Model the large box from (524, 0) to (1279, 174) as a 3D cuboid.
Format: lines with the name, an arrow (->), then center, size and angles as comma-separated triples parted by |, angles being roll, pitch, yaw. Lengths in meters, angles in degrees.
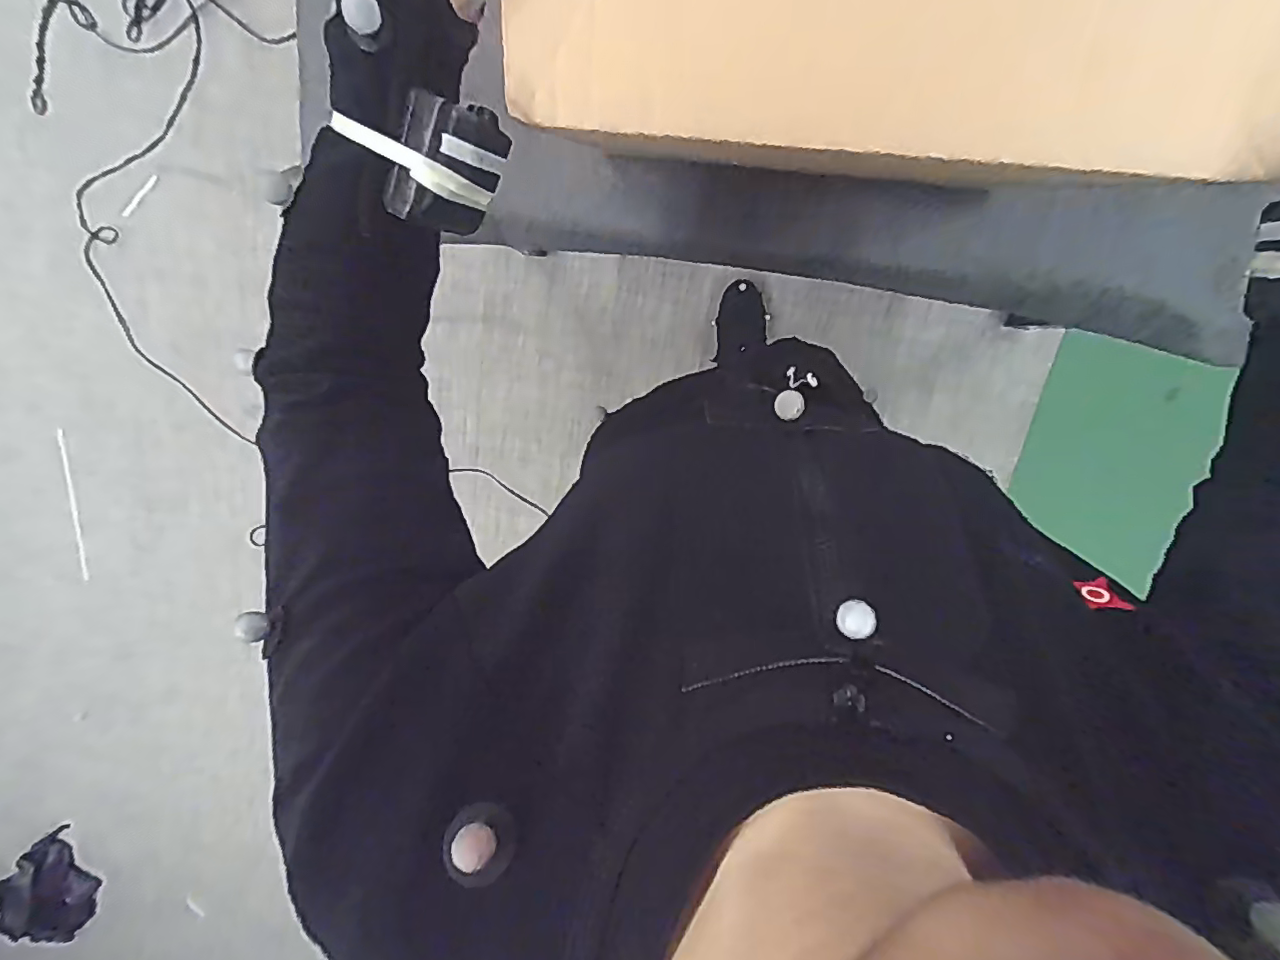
large box -> 0.153, -0.386, 0.348 | 0.408, 0.320, 0.320 | 5, 120, 2
